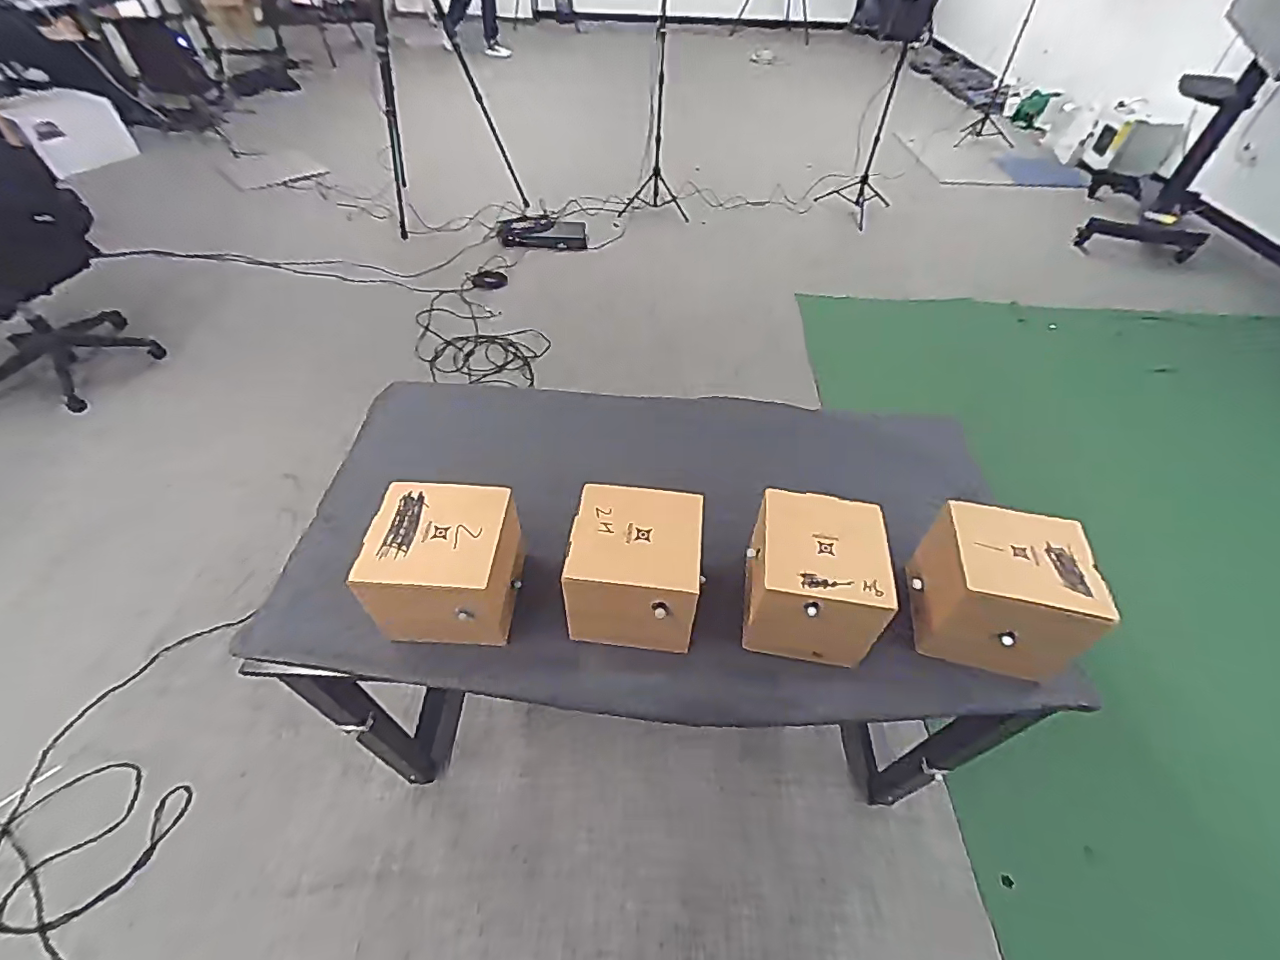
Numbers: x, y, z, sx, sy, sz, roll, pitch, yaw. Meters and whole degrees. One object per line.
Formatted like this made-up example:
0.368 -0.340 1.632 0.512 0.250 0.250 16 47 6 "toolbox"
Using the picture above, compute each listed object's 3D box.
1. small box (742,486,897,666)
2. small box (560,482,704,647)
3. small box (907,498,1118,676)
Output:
0.245 0.138 0.780 0.168 0.176 0.179 9 47 6 "small box"
-0.005 0.125 0.782 0.179 0.176 0.168 5 47 4 "small box"
0.506 0.155 0.767 0.179 0.176 0.168 12 45 10 "small box"
